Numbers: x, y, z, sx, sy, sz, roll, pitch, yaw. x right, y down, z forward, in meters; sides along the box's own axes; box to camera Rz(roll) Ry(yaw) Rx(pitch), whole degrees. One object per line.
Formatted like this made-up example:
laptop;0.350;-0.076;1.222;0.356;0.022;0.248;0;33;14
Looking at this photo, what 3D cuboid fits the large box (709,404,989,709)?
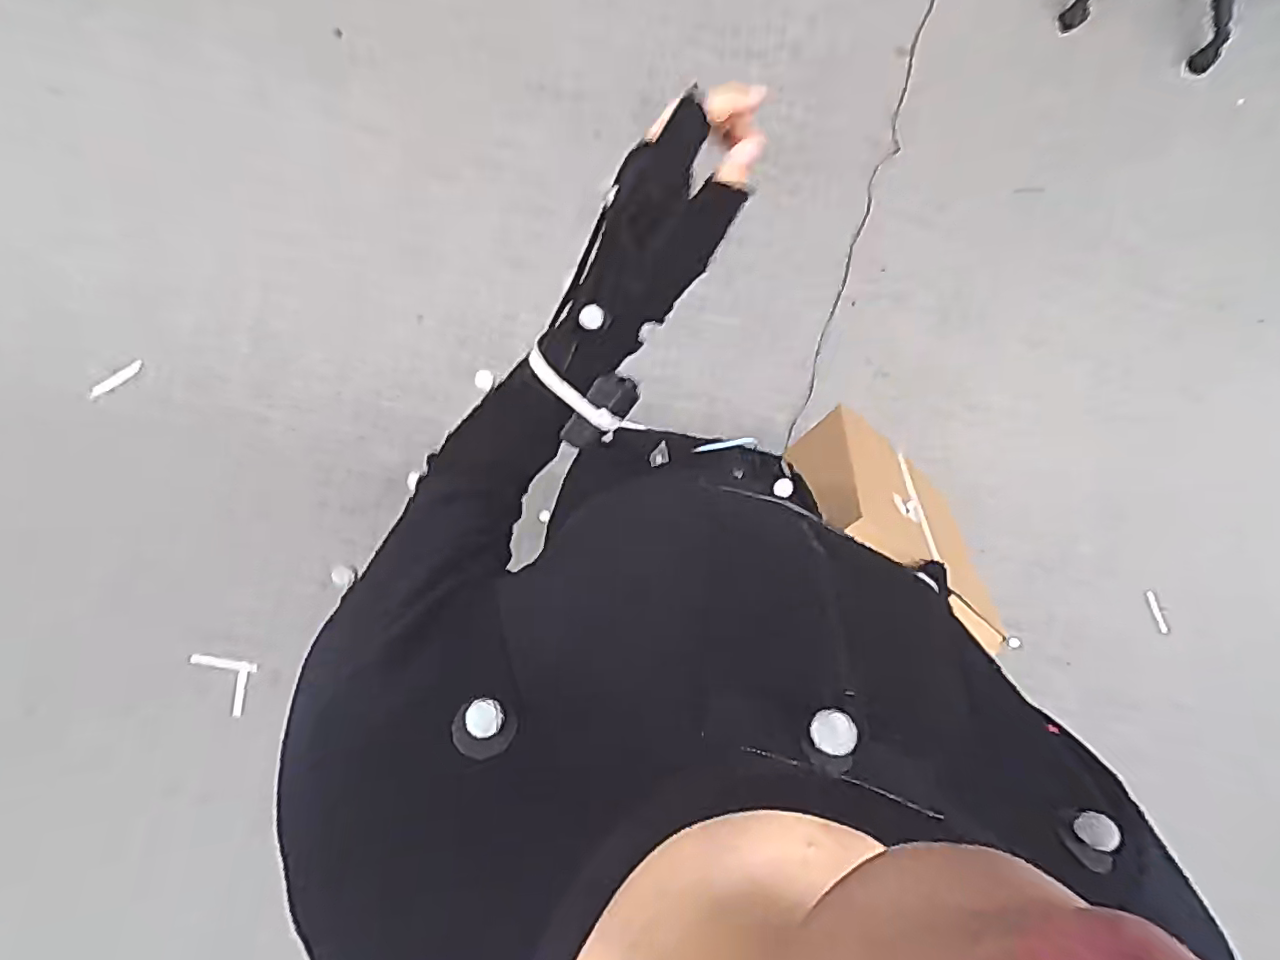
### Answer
large box;0.360;0.131;1.018;0.320;0.408;0.320;38;124;-9
